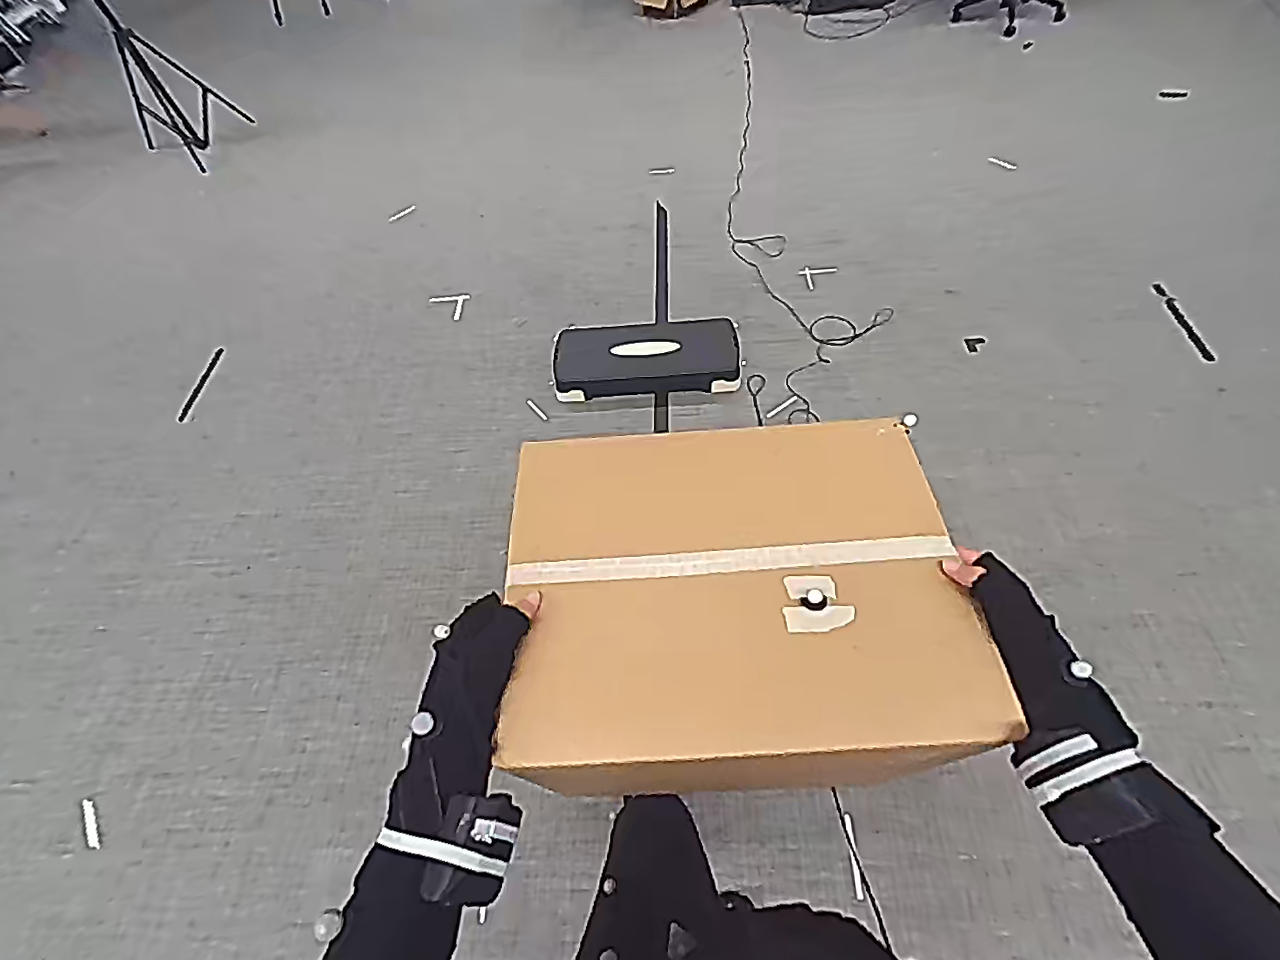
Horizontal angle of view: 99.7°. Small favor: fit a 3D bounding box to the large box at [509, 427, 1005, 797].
[{"bbox_3d":[0.090,0.166,0.631,0.408,0.320,0.320,-4,55,1],"label":"large box"}]
